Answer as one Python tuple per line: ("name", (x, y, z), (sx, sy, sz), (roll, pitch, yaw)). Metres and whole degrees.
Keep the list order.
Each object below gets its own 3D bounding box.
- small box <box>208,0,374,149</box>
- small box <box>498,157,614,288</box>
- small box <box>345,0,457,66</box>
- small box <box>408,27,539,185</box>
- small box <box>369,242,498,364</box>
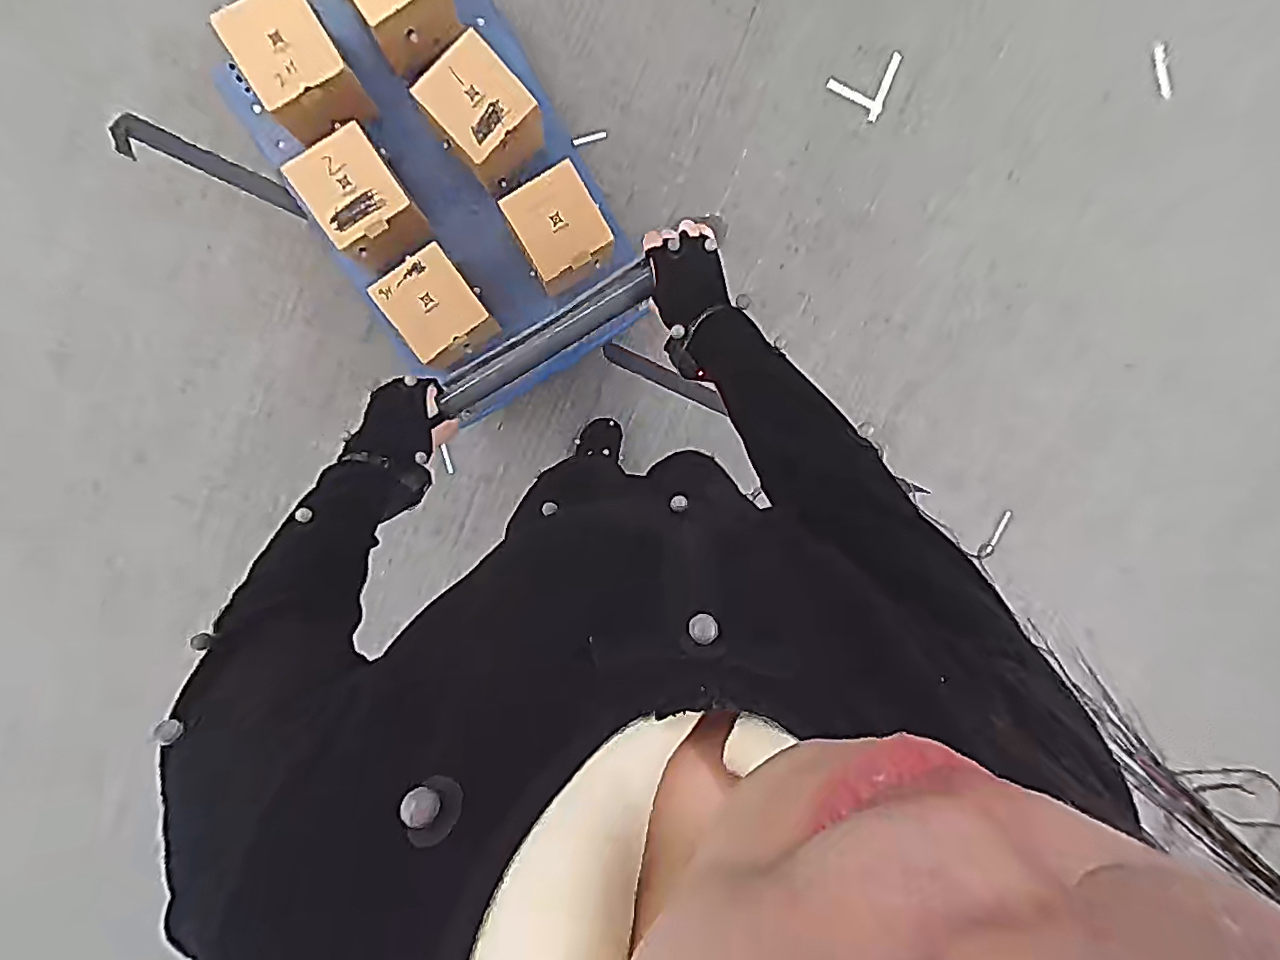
("small box", (-0.655, -0.788, 1.038), (0.168, 0.176, 0.179), (-31, 102, -1))
("small box", (-0.171, -0.526, 1.138), (0.168, 0.176, 0.179), (-33, 100, -2))
("small box", (-0.480, -0.946, 1.036), (0.168, 0.176, 0.179), (-36, 101, 0))
("small box", (-0.320, -0.731, 1.087), (0.168, 0.176, 0.179), (-45, 100, 1))
("small box", (-0.418, -0.359, 1.133), (0.168, 0.176, 0.179), (-37, 101, -1))
